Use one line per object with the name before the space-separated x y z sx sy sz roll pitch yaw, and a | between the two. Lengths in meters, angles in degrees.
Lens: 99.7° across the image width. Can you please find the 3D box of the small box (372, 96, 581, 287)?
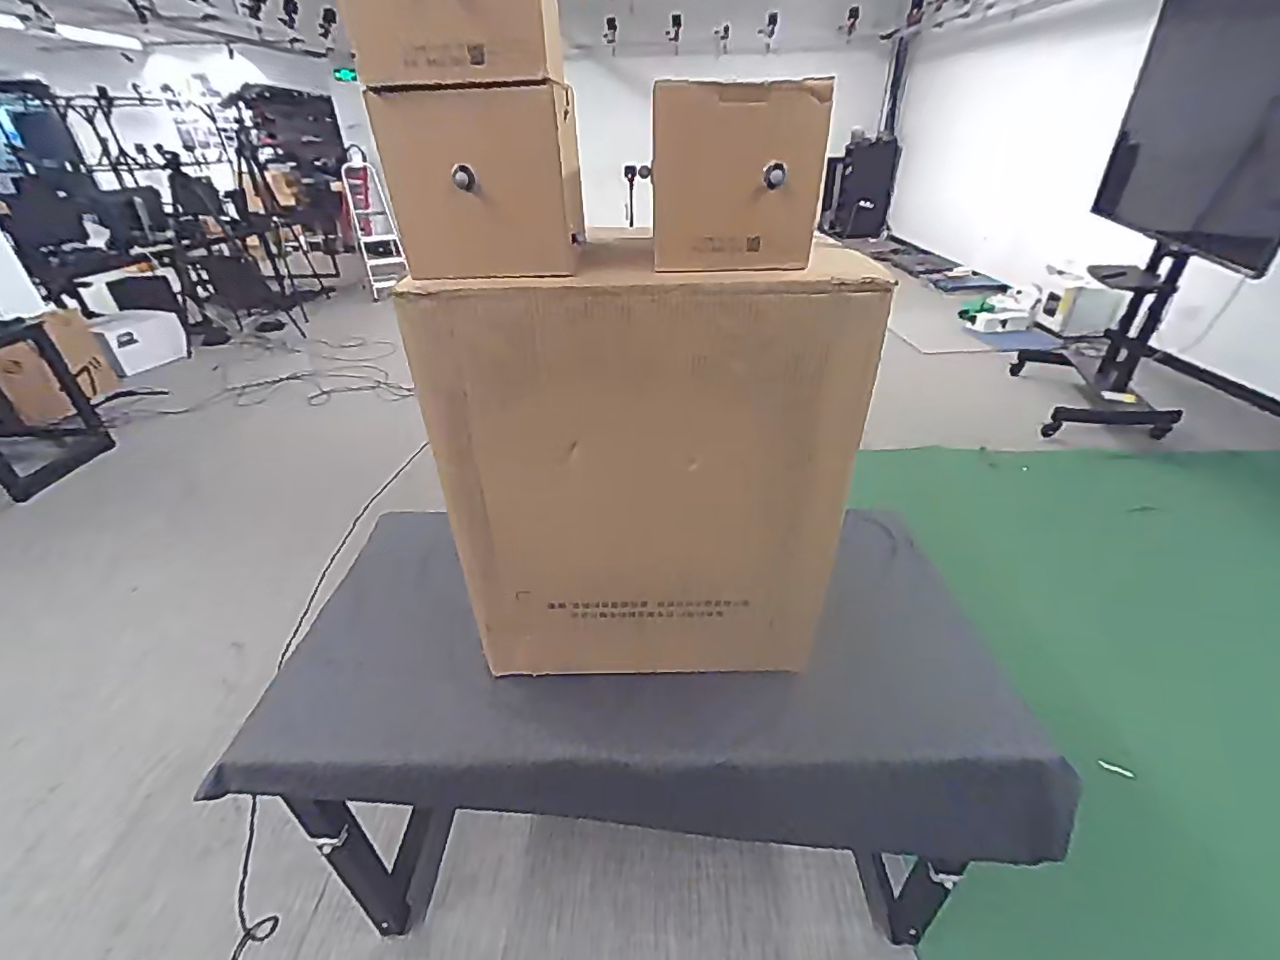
small box | -0.157 -0.319 0.596 0.179 0.176 0.168 -2 35 -2

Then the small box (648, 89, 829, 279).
small box | 0.094 -0.328 0.602 0.168 0.176 0.179 1 34 0

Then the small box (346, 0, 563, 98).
small box | -0.166 -0.454 0.503 0.168 0.176 0.179 -3 35 -1
